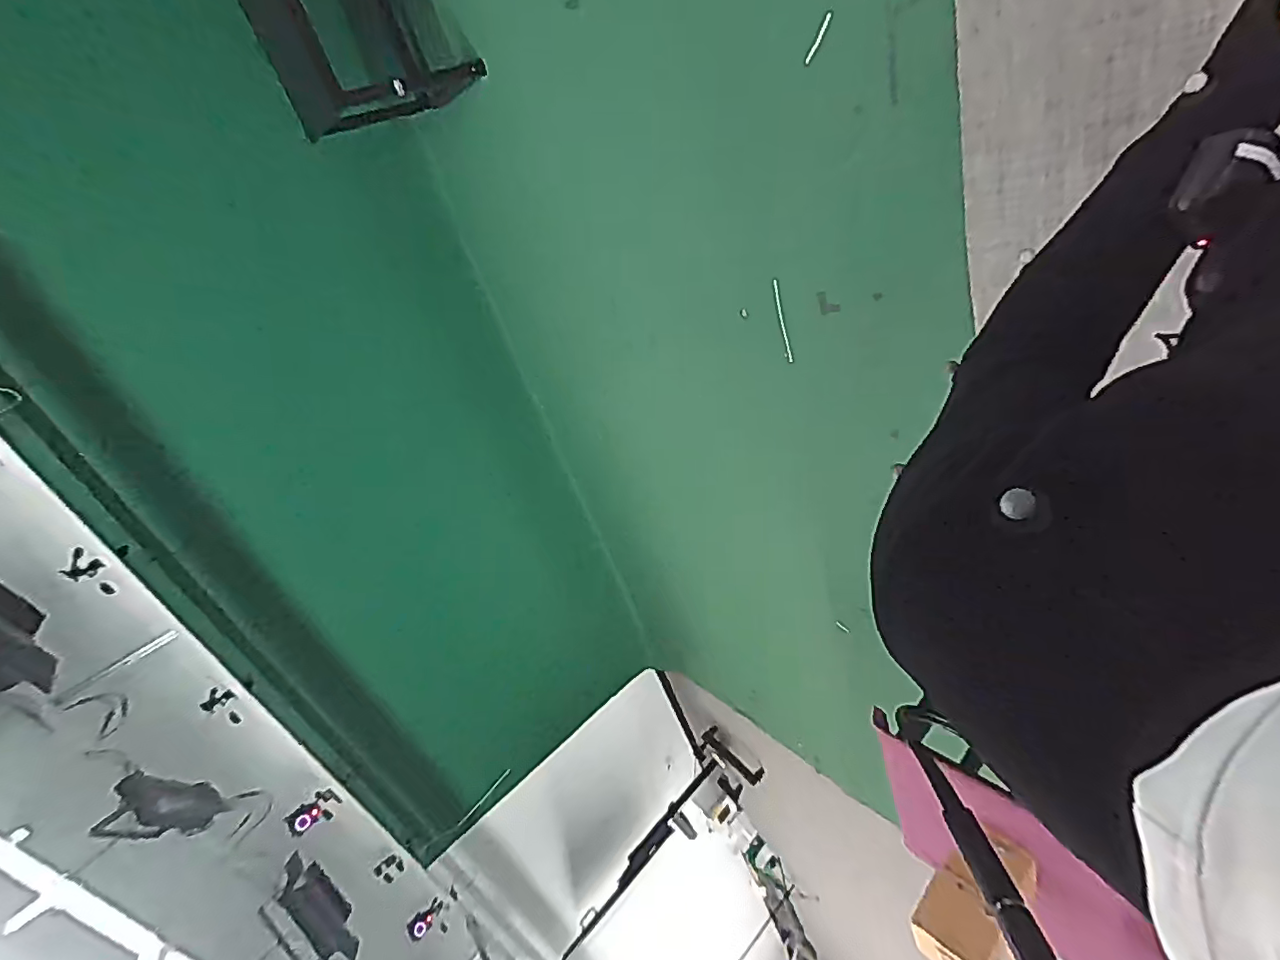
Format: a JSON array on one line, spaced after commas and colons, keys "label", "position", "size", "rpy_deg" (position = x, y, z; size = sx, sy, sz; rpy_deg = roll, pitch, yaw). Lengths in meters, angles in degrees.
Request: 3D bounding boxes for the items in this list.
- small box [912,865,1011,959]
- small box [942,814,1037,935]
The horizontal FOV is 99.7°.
[{"label": "small box", "position": [0.818, 1.137, 1.373], "size": [0.168, 0.176, 0.179], "rpy_deg": [16, 137, 50]}, {"label": "small box", "position": [0.937, 1.052, 1.447], "size": [0.168, 0.176, 0.179], "rpy_deg": [17, 136, 50]}]
